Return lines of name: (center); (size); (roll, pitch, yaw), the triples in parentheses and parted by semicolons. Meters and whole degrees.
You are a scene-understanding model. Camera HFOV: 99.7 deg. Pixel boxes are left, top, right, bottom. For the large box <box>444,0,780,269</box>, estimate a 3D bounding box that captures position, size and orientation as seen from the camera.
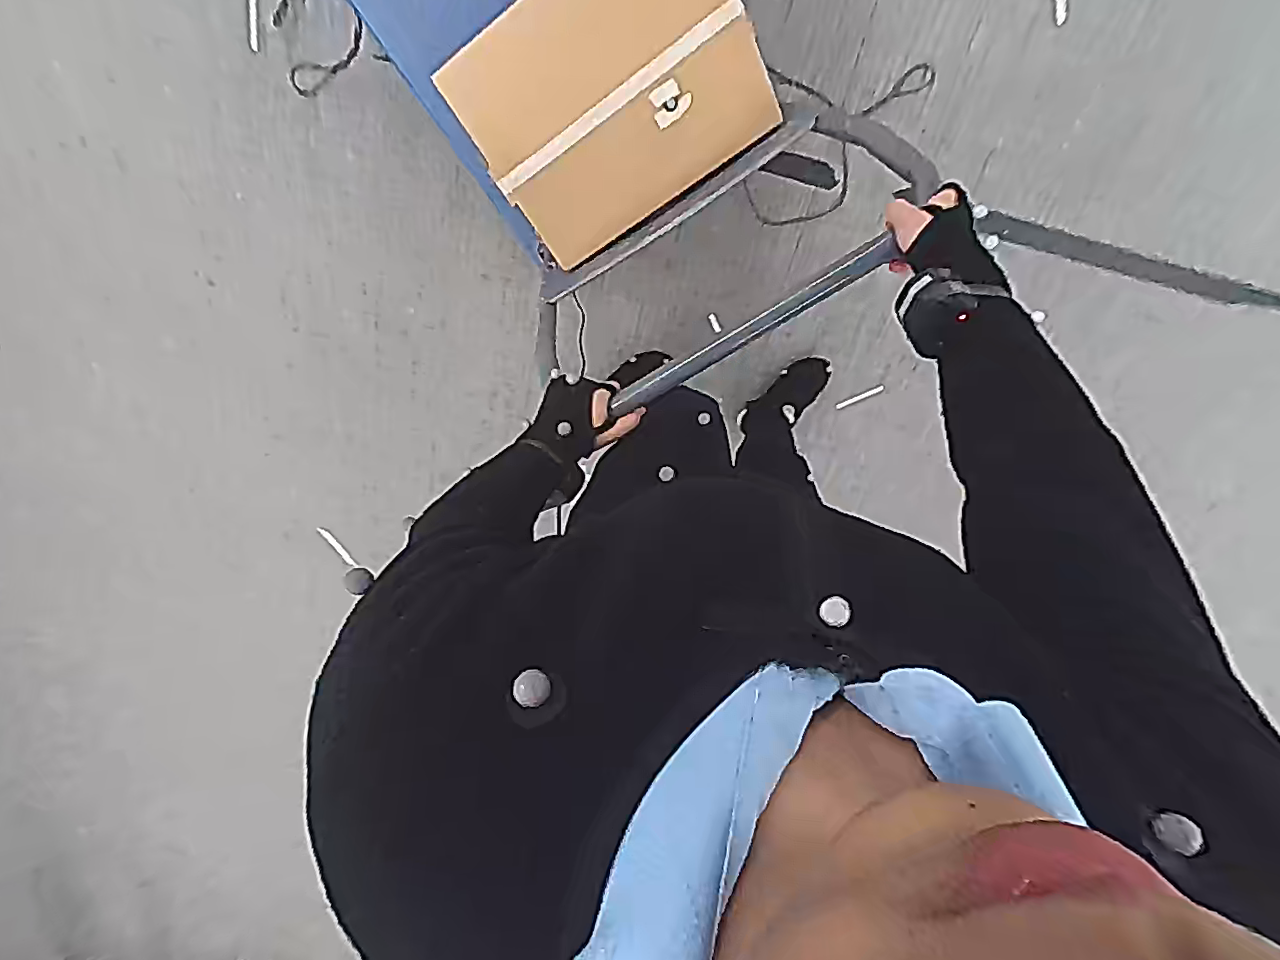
large box: (-0.047, -0.633, 0.905); (0.408, 0.320, 0.320); (-30, 123, 14)
